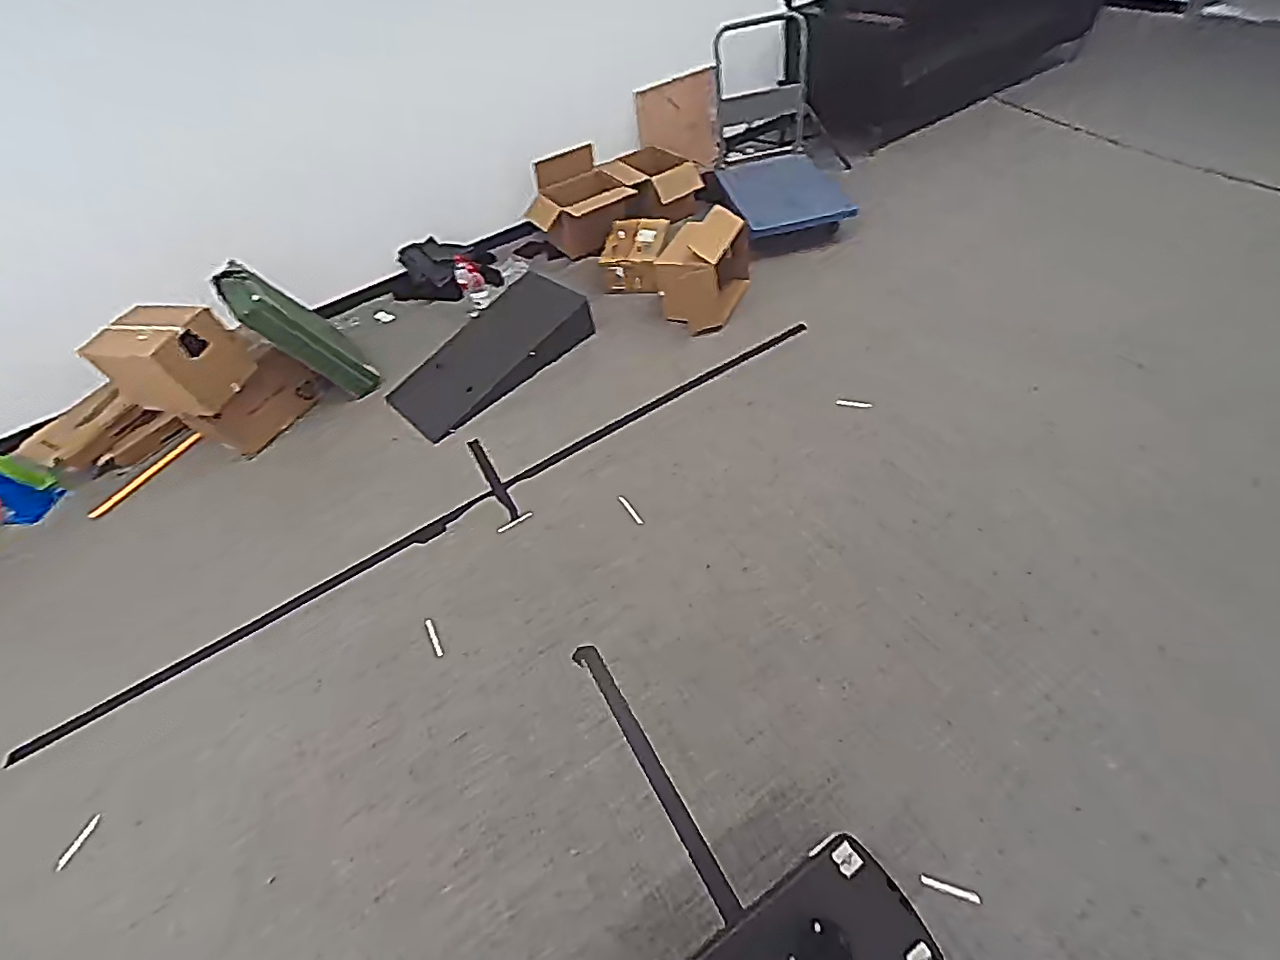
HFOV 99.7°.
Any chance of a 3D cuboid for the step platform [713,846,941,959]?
[{"bbox_3d":[0.268,1.067,1.067,0.684,0.204,0.286,-30,53,-15],"label":"step platform"}]
